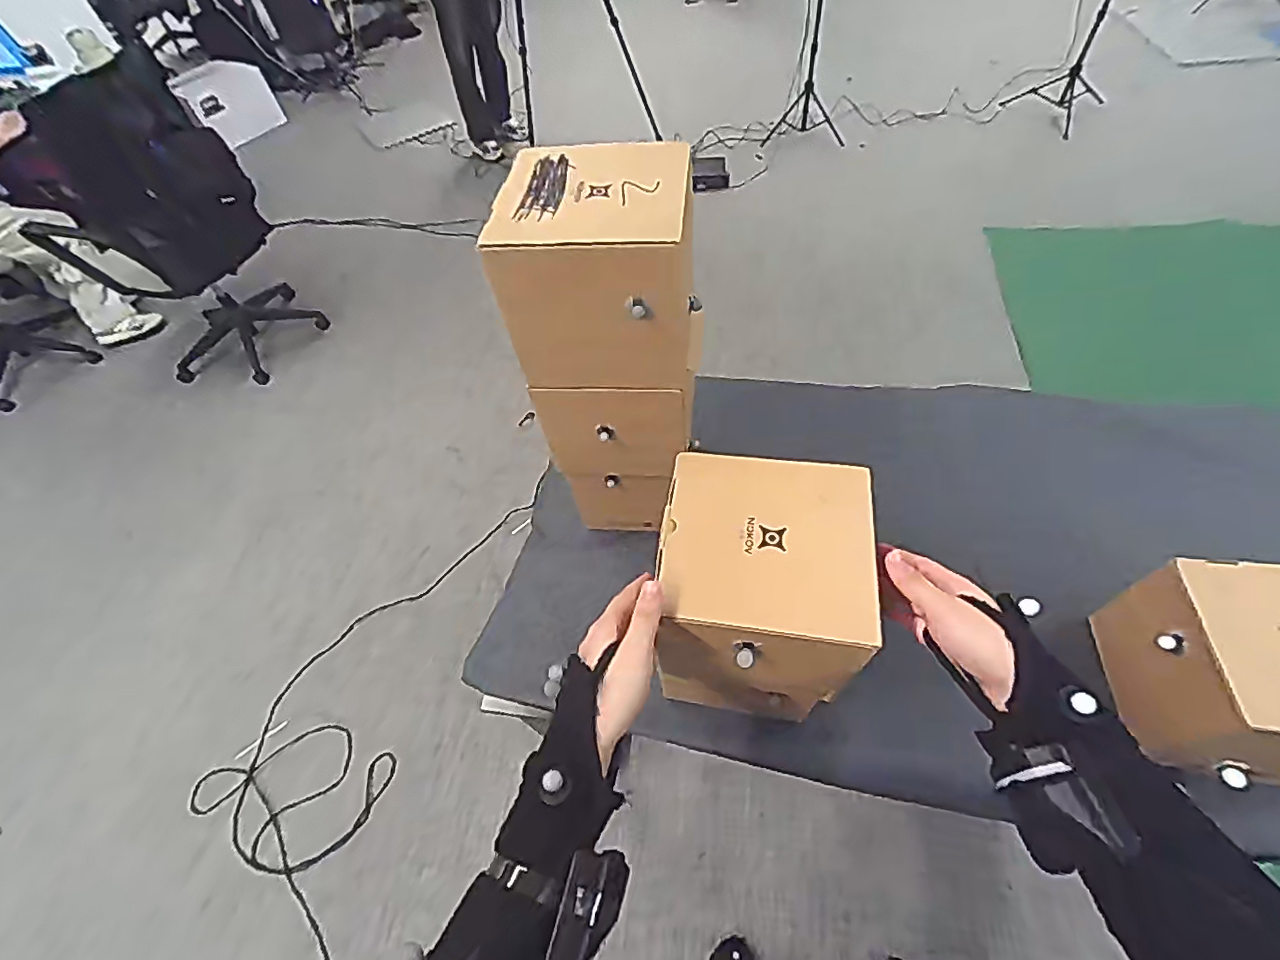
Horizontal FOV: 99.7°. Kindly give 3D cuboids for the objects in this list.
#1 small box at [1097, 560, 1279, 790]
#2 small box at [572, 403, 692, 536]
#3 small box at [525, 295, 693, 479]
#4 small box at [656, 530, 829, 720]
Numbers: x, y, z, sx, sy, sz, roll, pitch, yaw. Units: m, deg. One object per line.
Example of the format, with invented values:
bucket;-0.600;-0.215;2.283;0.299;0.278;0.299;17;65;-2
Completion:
small box;0.638;0.208;0.572;0.168;0.176;0.179;4;54;11
small box;-0.006;-0.033;0.833;0.168;0.176;0.179;1;55;8
small box;-0.024;-0.113;0.689;0.179;0.176;0.168;1;56;9
small box;0.125;0.181;0.660;0.179;0.176;0.168;6;55;12
